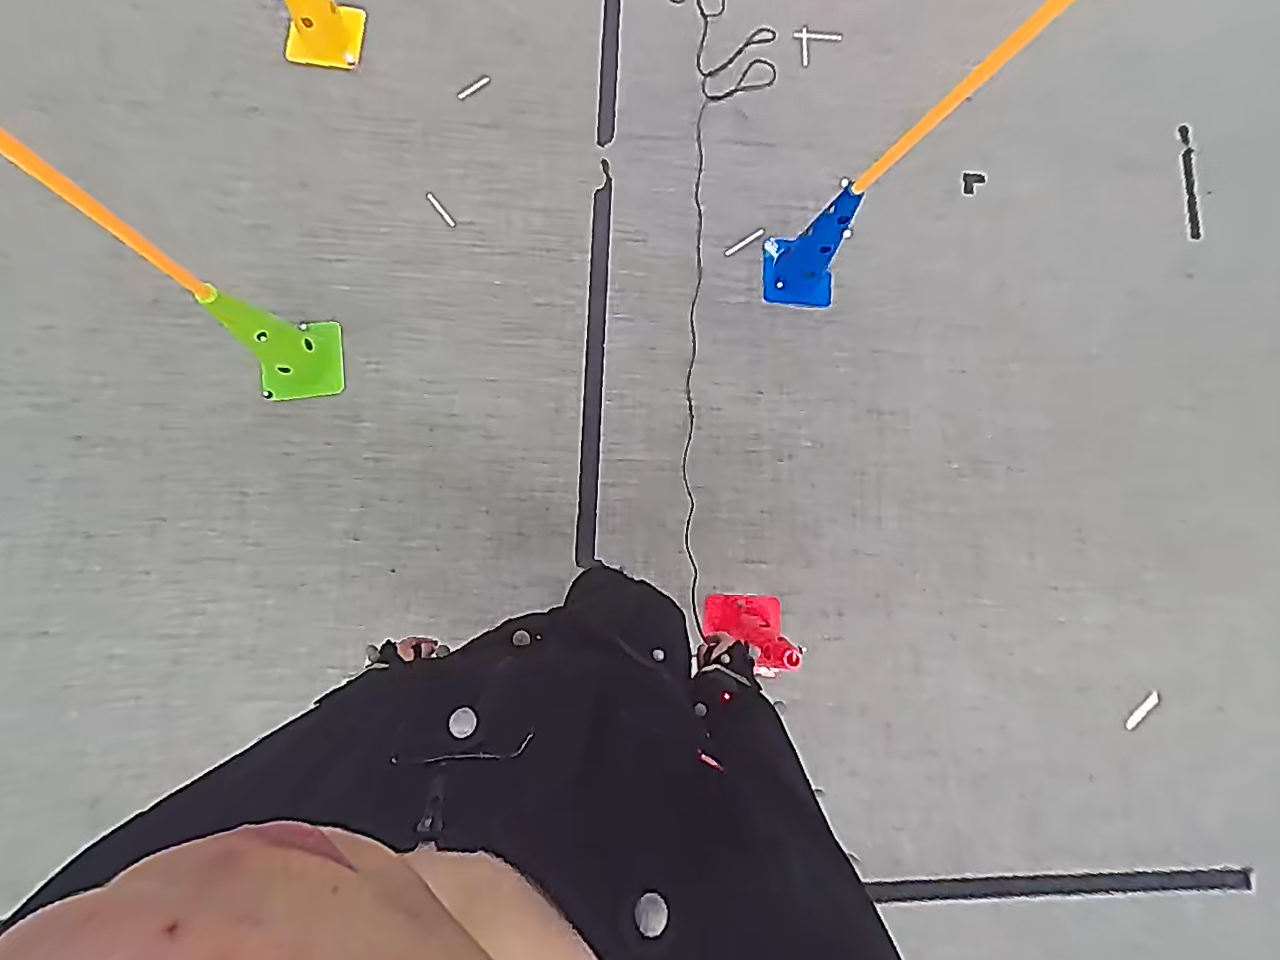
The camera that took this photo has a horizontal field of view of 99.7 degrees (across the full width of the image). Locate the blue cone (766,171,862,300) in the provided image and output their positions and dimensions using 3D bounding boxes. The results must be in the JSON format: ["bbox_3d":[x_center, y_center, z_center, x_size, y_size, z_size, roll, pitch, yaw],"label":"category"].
[{"bbox_3d":[0.466,-0.633,1.387,0.193,0.380,0.192,5,80,-4],"label":"blue cone"}]

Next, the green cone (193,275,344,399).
[{"bbox_3d":[-0.858,-0.345,1.226,0.200,0.368,0.202,-8,80,-6],"label":"green cone"}]
